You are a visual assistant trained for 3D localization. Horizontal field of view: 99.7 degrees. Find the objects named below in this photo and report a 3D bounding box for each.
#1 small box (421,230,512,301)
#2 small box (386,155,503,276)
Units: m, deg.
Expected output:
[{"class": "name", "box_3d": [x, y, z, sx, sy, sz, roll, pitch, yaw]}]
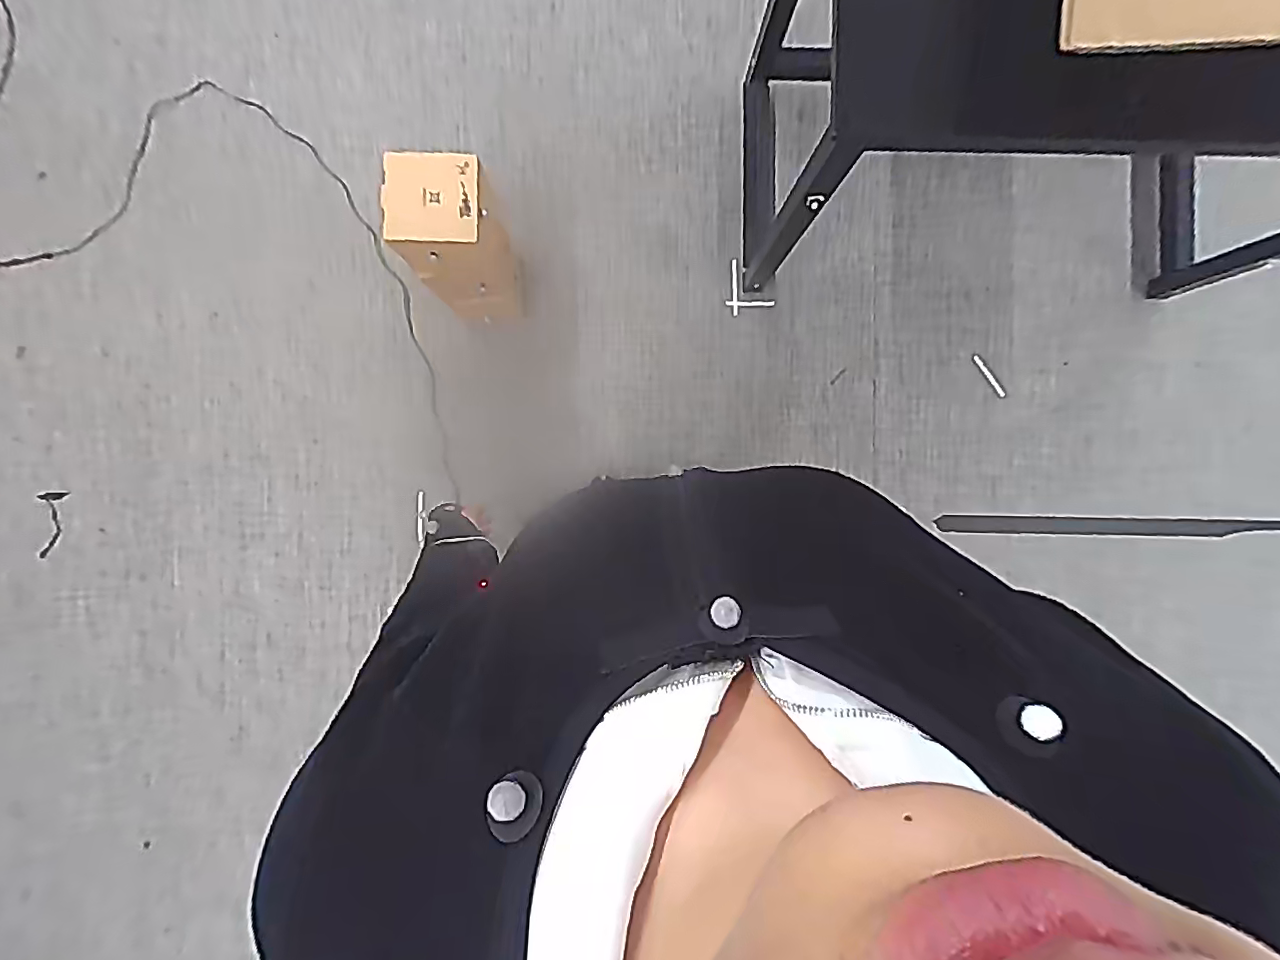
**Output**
[{"class": "small box", "box_3d": [-0.401, -0.525, 1.250, 0.168, 0.176, 0.179, -7, 89, -2]}, {"class": "small box", "box_3d": [-0.384, -0.522, 1.086, 0.179, 0.176, 0.168, 1, 90, -1]}]
